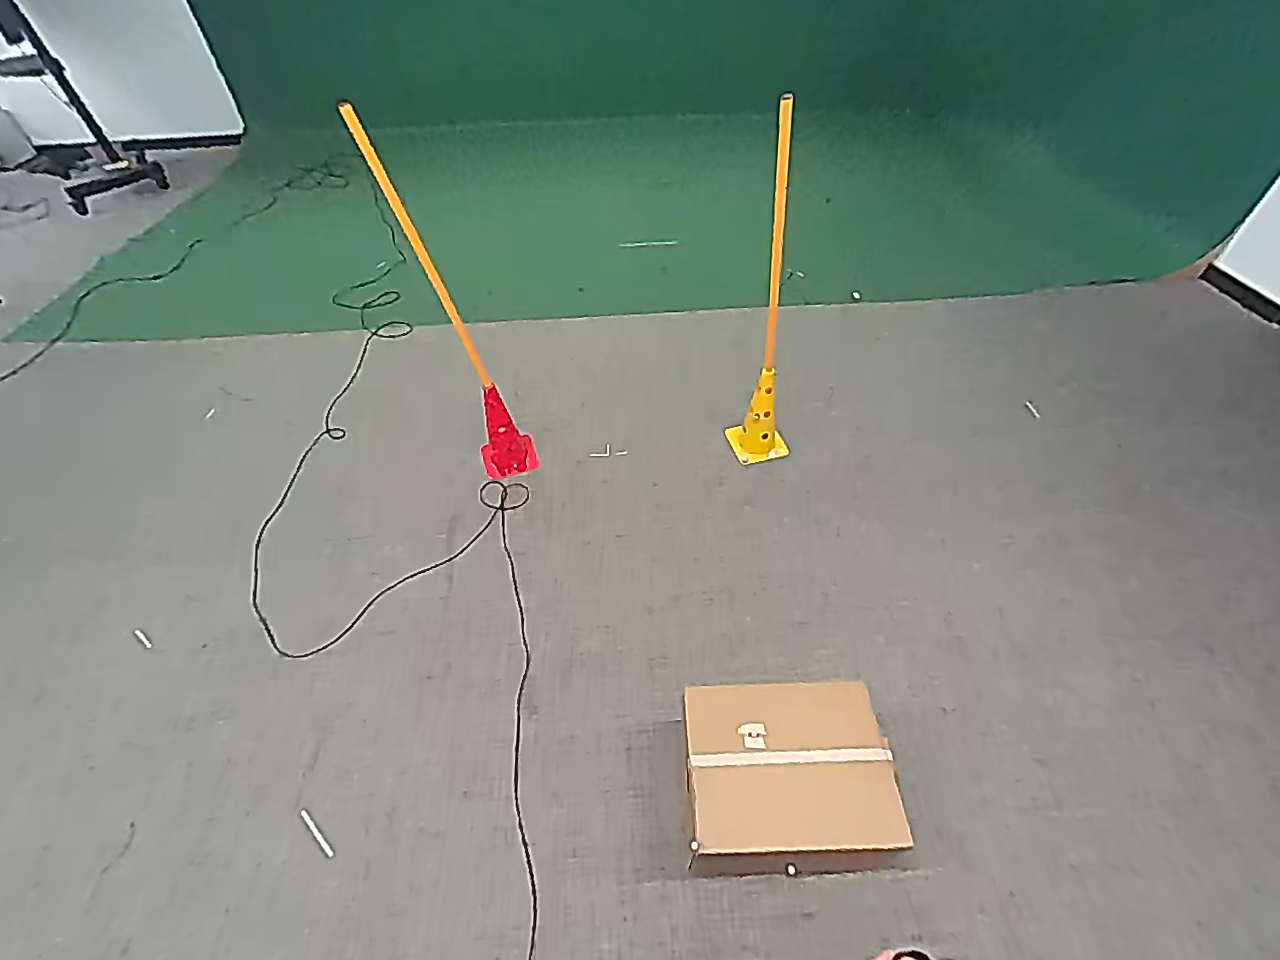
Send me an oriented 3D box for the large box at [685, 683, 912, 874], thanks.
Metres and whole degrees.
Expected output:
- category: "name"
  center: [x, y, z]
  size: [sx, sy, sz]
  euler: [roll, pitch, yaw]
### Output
- category: "large box"
  center: [0.314, 0.674, 1.212]
  size: [0.408, 0.320, 0.320]
  euler: [-3, 47, 1]
